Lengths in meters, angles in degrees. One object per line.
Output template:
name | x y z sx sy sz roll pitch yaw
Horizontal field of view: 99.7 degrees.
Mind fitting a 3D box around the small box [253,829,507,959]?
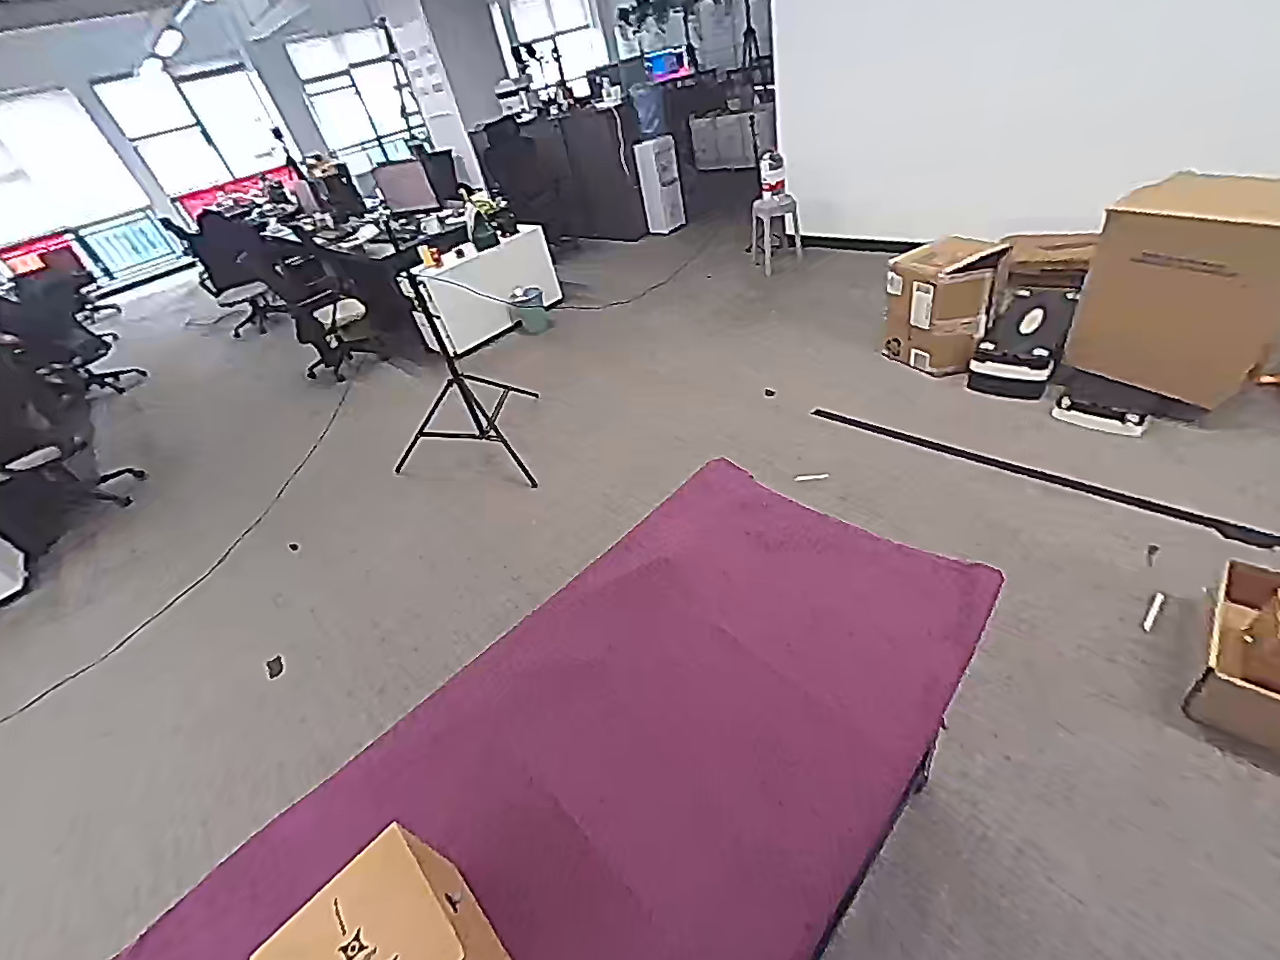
small box | -0.258 0.527 0.572 0.168 0.176 0.179 -38 43 -28

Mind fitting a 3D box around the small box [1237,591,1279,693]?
small box | 1.531 0.394 1.234 0.179 0.176 0.168 20 49 35
